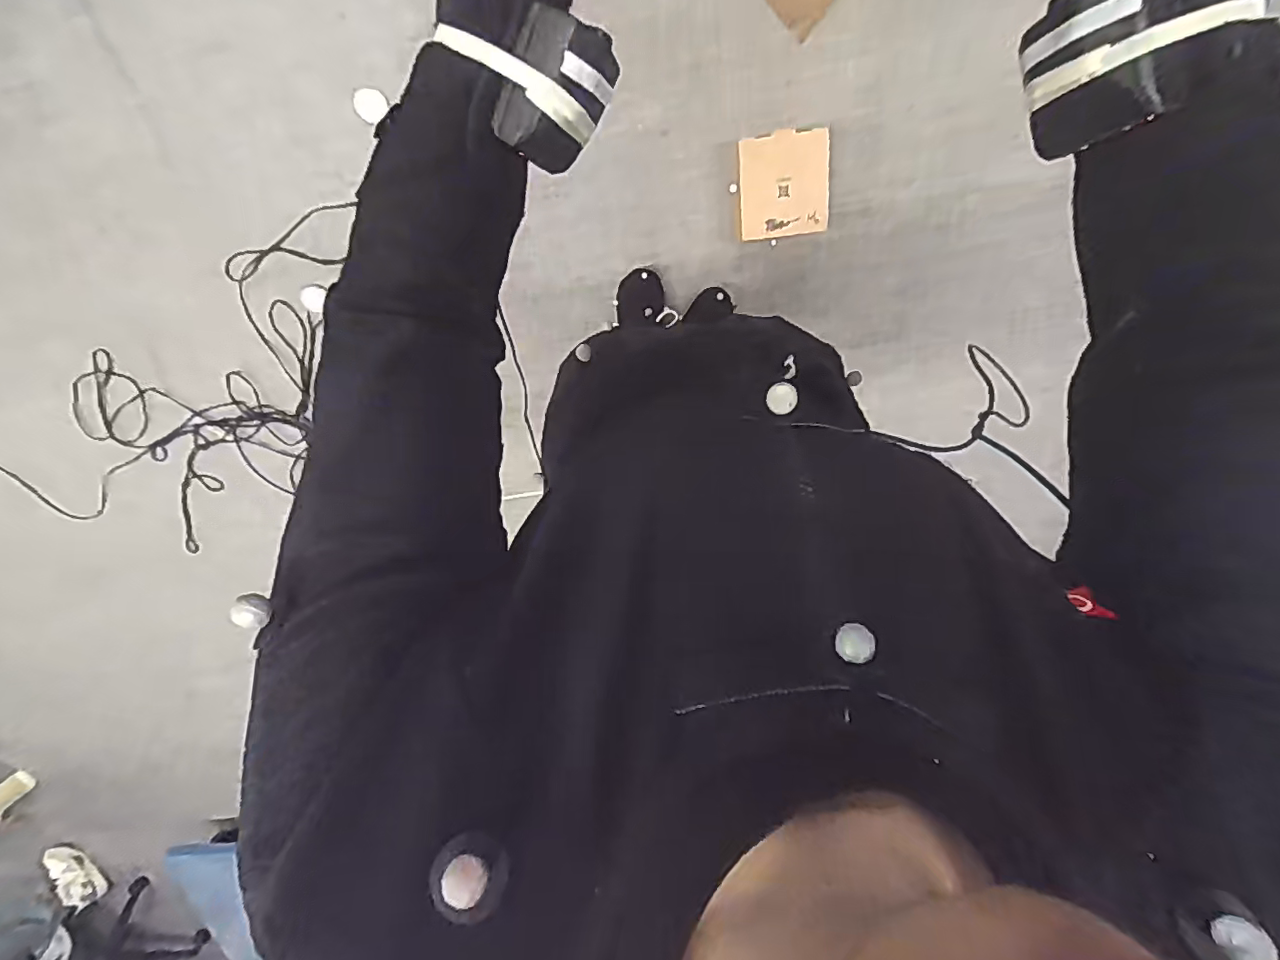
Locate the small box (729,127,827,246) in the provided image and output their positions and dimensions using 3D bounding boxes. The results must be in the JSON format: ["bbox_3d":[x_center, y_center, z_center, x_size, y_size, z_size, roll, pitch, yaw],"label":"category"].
[{"bbox_3d":[0.271,-0.579,1.087,0.168,0.176,0.179,-5,110,5],"label":"small box"}]
